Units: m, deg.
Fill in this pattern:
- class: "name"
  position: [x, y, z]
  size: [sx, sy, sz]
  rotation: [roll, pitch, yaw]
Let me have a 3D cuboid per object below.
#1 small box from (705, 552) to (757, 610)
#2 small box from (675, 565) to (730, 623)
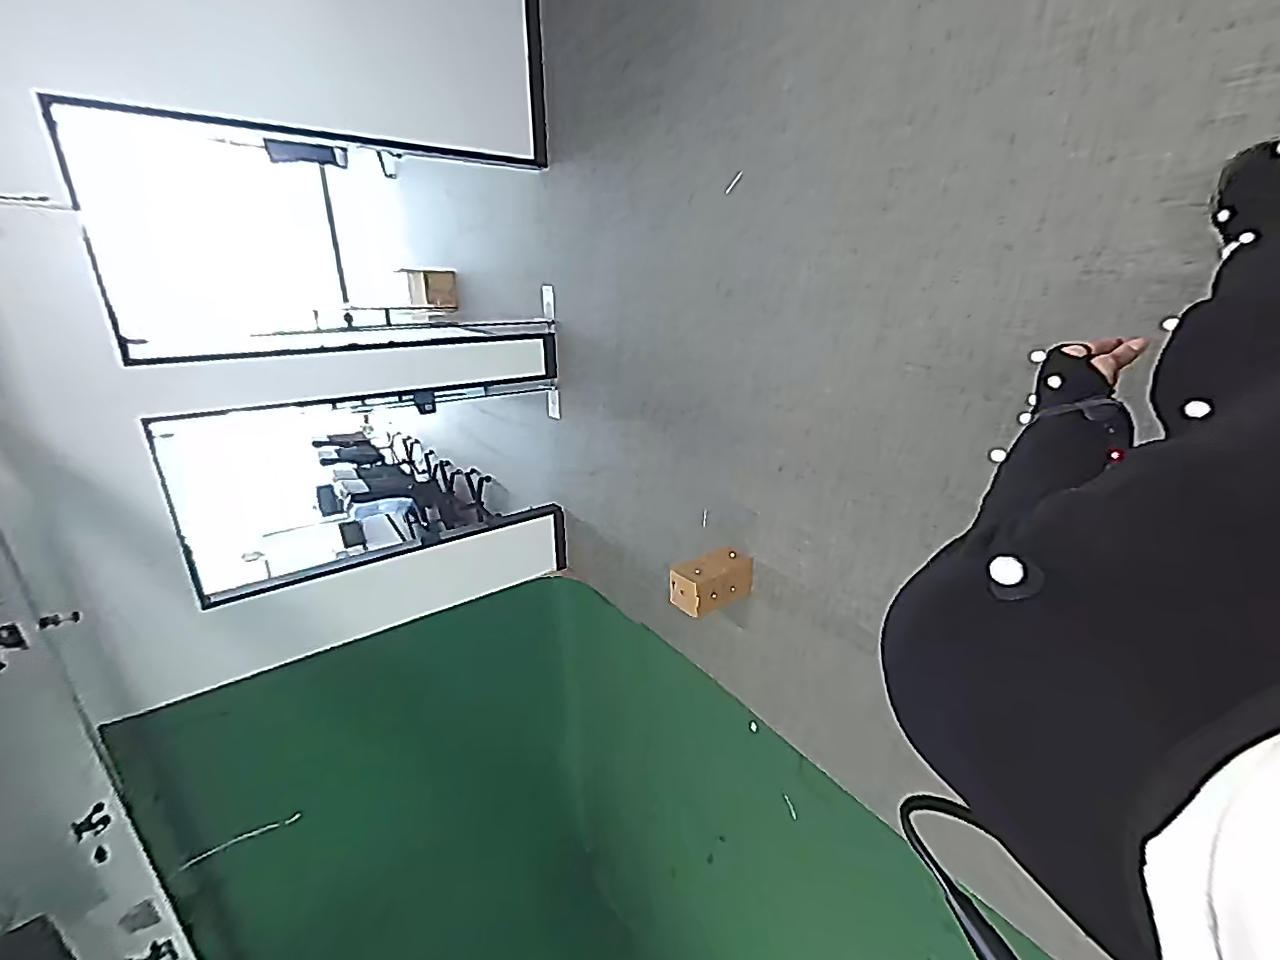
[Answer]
- class: "small box"
  position: [0.405, 0.447, 2.415]
  size: [0.168, 0.176, 0.179]
  rotation: [25, 120, 49]
- class: "small box"
  position: [0.272, 0.483, 2.326]
  size: [0.179, 0.176, 0.168]
  rotation: [20, 118, 50]
